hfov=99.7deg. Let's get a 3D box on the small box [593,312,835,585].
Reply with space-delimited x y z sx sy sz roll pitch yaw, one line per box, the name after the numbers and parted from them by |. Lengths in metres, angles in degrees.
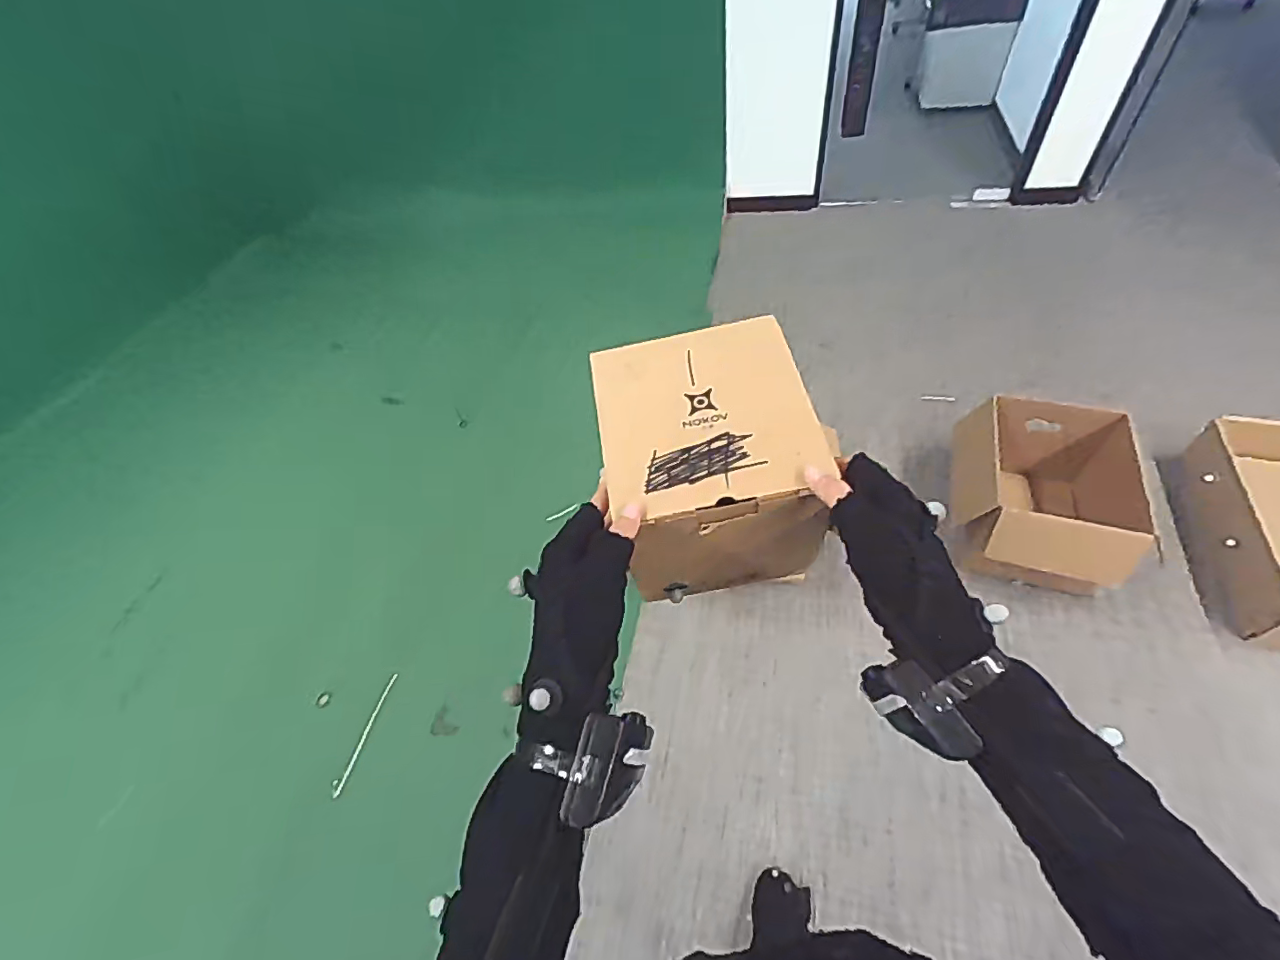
0.063 -0.016 0.495 0.168 0.176 0.179 -12 58 4 | small box
